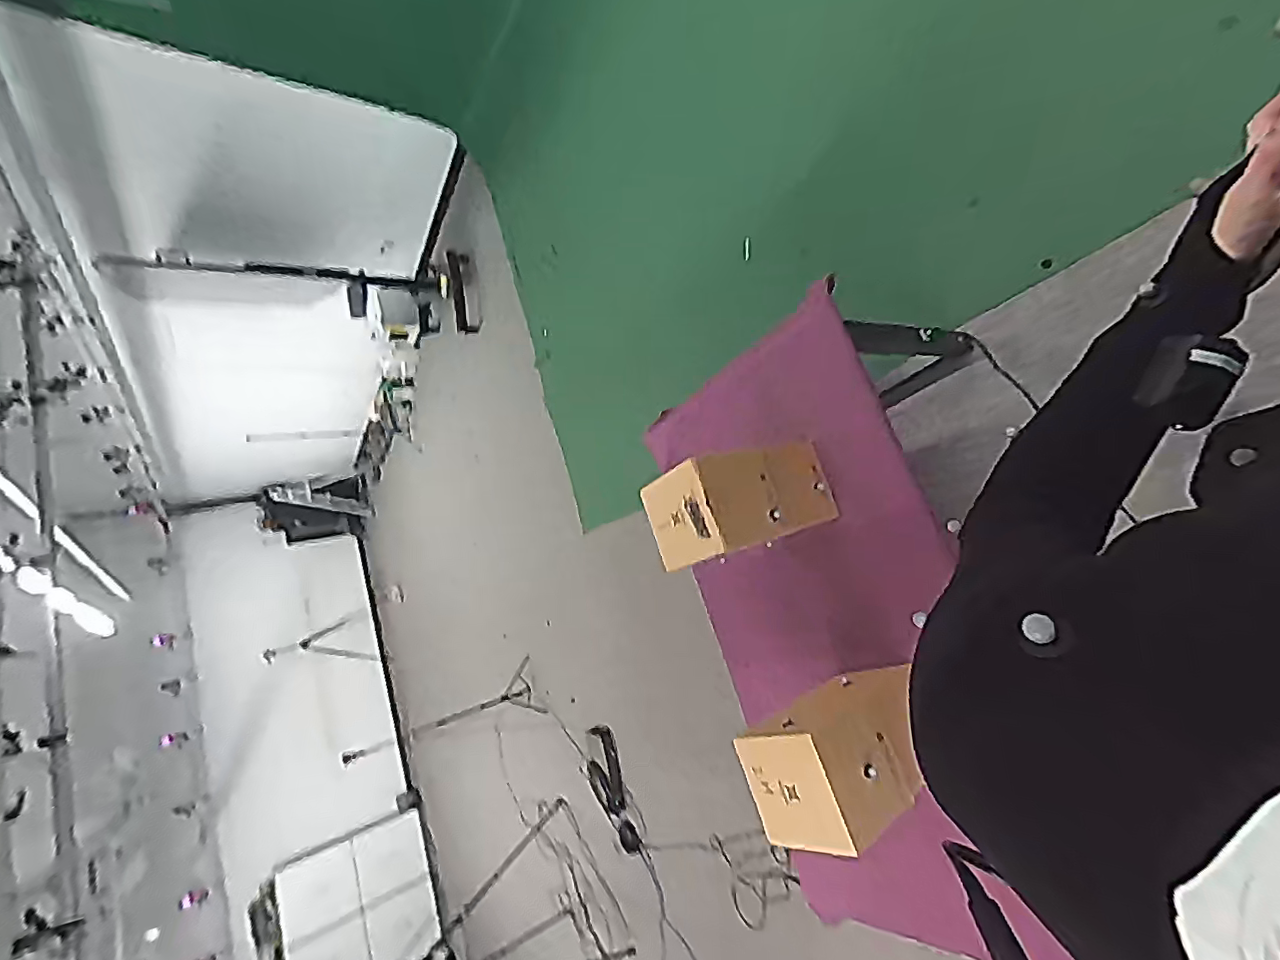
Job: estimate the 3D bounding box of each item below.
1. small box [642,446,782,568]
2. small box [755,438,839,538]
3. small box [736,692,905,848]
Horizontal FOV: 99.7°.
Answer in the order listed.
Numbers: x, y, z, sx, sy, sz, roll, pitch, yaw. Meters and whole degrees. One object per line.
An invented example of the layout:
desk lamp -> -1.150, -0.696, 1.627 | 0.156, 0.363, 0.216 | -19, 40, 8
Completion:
small box -> 0.138, 0.048, 1.001 | 0.179, 0.176, 0.168 | -34, 71, 53
small box -> 0.266, 0.025, 1.100 | 0.179, 0.176, 0.168 | -32, 73, 51
small box -> 0.295, 0.456, 0.873 | 0.179, 0.176, 0.168 | -37, 67, 50
